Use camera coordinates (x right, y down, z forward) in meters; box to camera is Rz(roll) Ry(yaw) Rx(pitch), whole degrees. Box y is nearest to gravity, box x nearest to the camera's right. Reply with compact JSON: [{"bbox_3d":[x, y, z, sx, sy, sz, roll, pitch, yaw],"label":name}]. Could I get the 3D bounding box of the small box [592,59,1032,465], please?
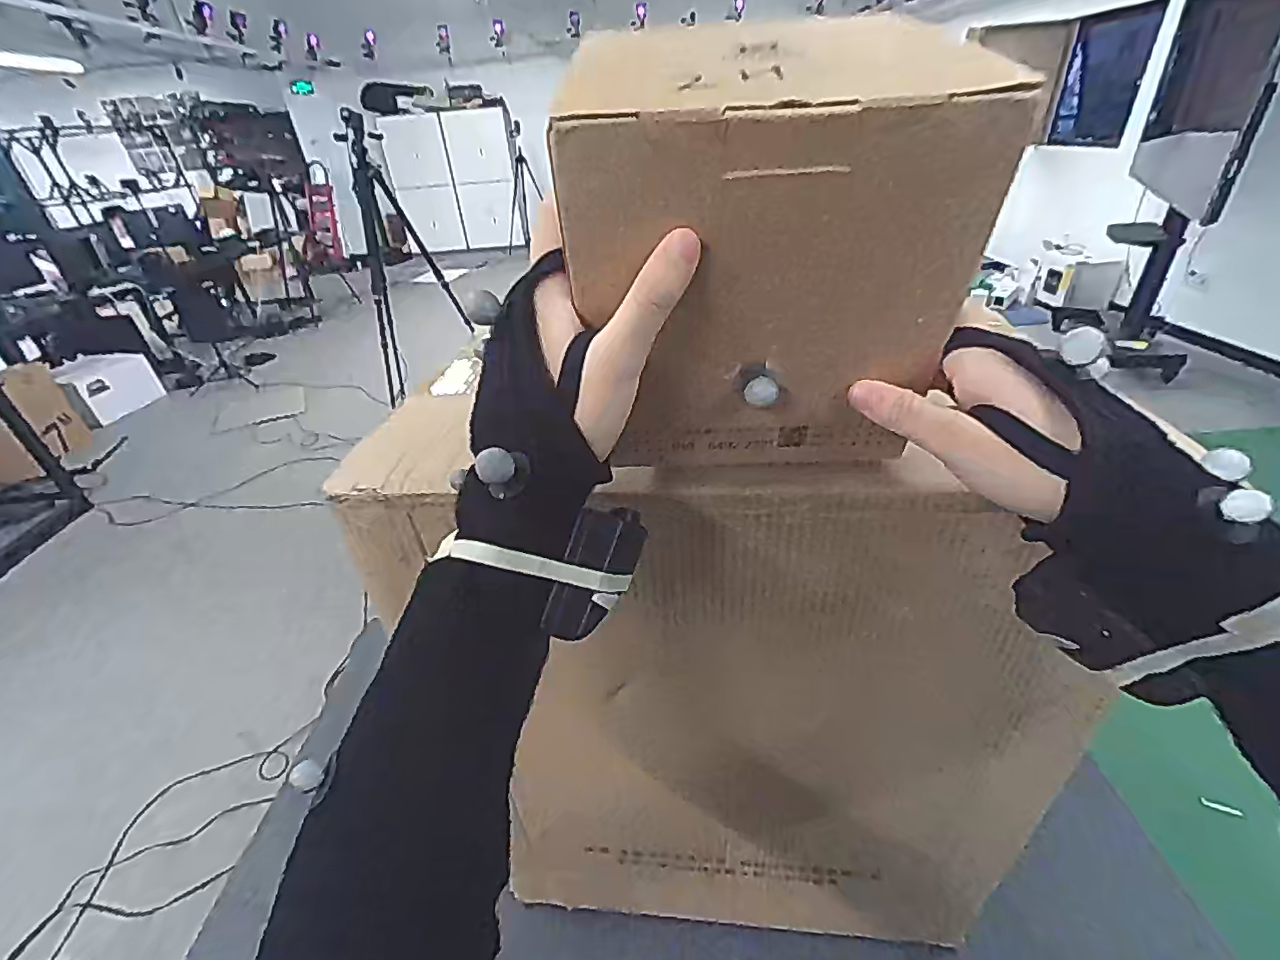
[{"bbox_3d":[0.068,-0.128,0.316,0.168,0.176,0.179,-1,45,3],"label":"small box"}]
